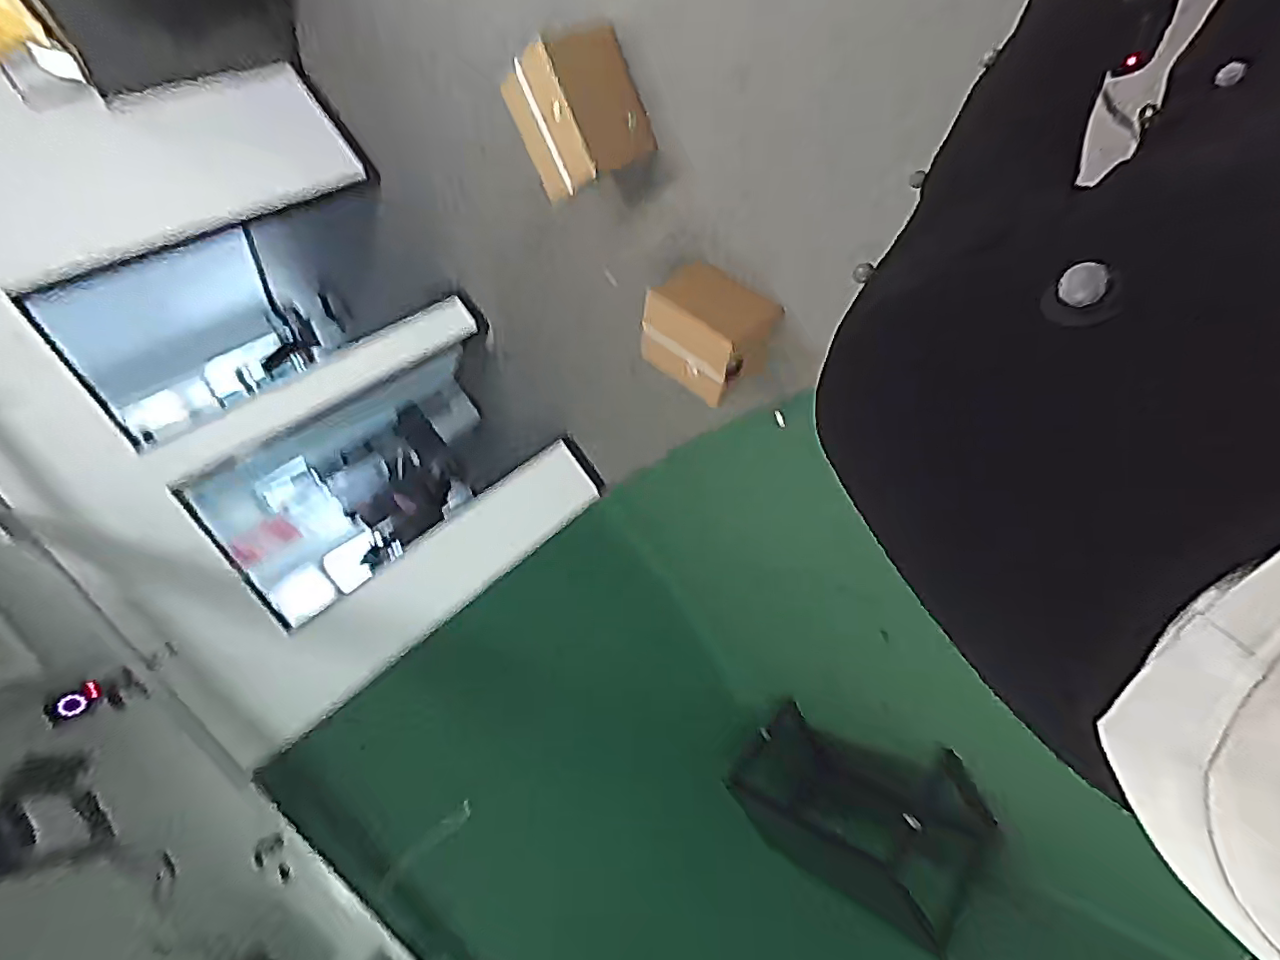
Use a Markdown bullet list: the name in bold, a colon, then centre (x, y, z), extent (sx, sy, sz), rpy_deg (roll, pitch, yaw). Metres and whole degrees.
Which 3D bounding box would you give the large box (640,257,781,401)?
- **large box**: centre (0.256, -0.583, 2.065), extent (0.408, 0.320, 0.320), rpy_deg (38, 151, 20)
